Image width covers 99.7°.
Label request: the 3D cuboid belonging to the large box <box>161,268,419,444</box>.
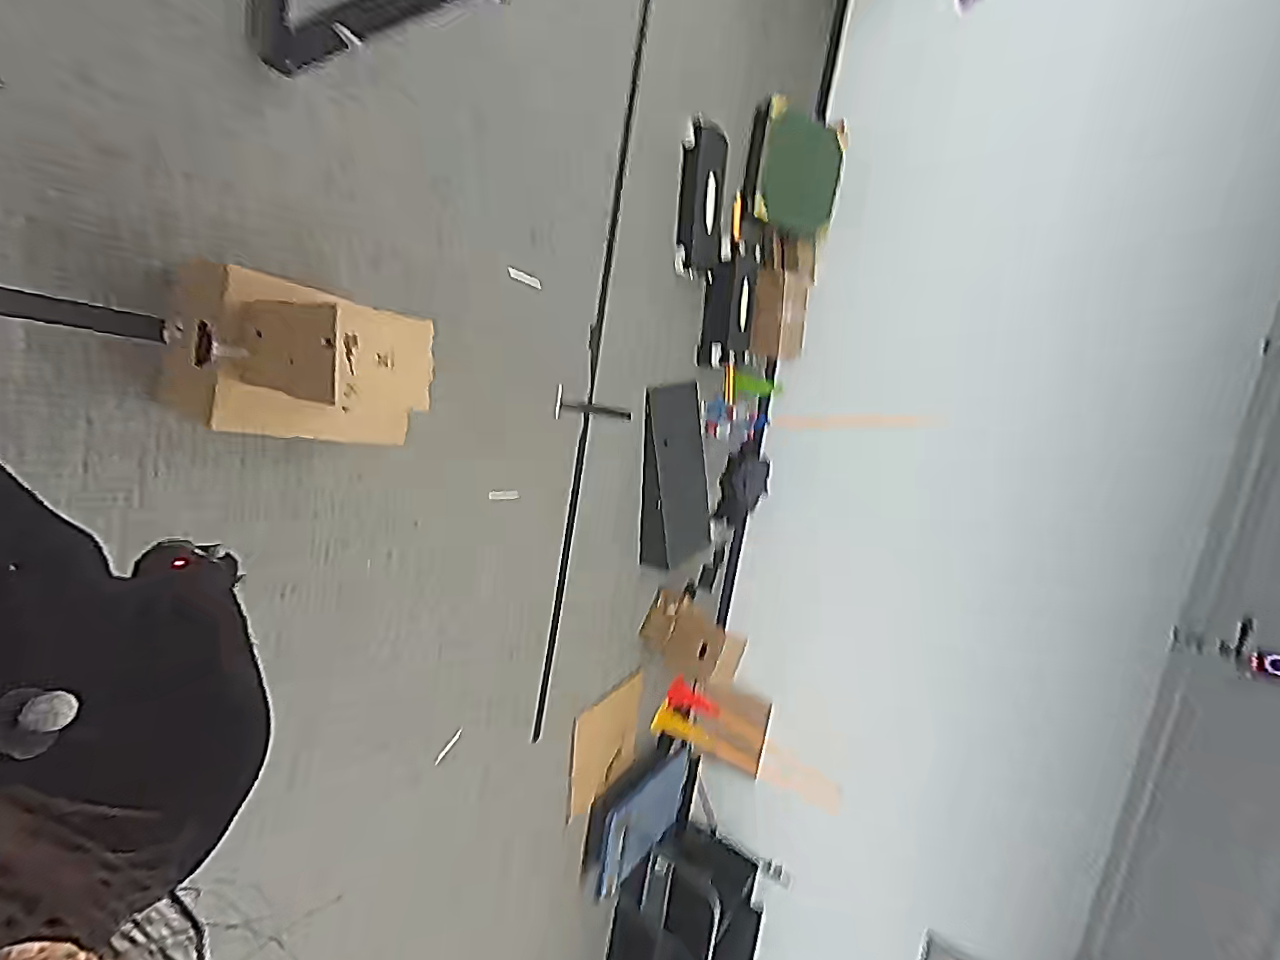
[{"bbox_3d":[-0.794,-0.270,1.247,0.408,0.320,0.320,3,101,-58],"label":"large box"}]

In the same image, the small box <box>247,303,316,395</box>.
[{"bbox_3d":[-0.627,-0.244,1.057,0.179,0.176,0.168,1,99,-56],"label":"small box"}]

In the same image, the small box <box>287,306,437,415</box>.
[{"bbox_3d":[-0.494,-0.213,0.967,0.179,0.176,0.168,-5,104,-57],"label":"small box"}]
